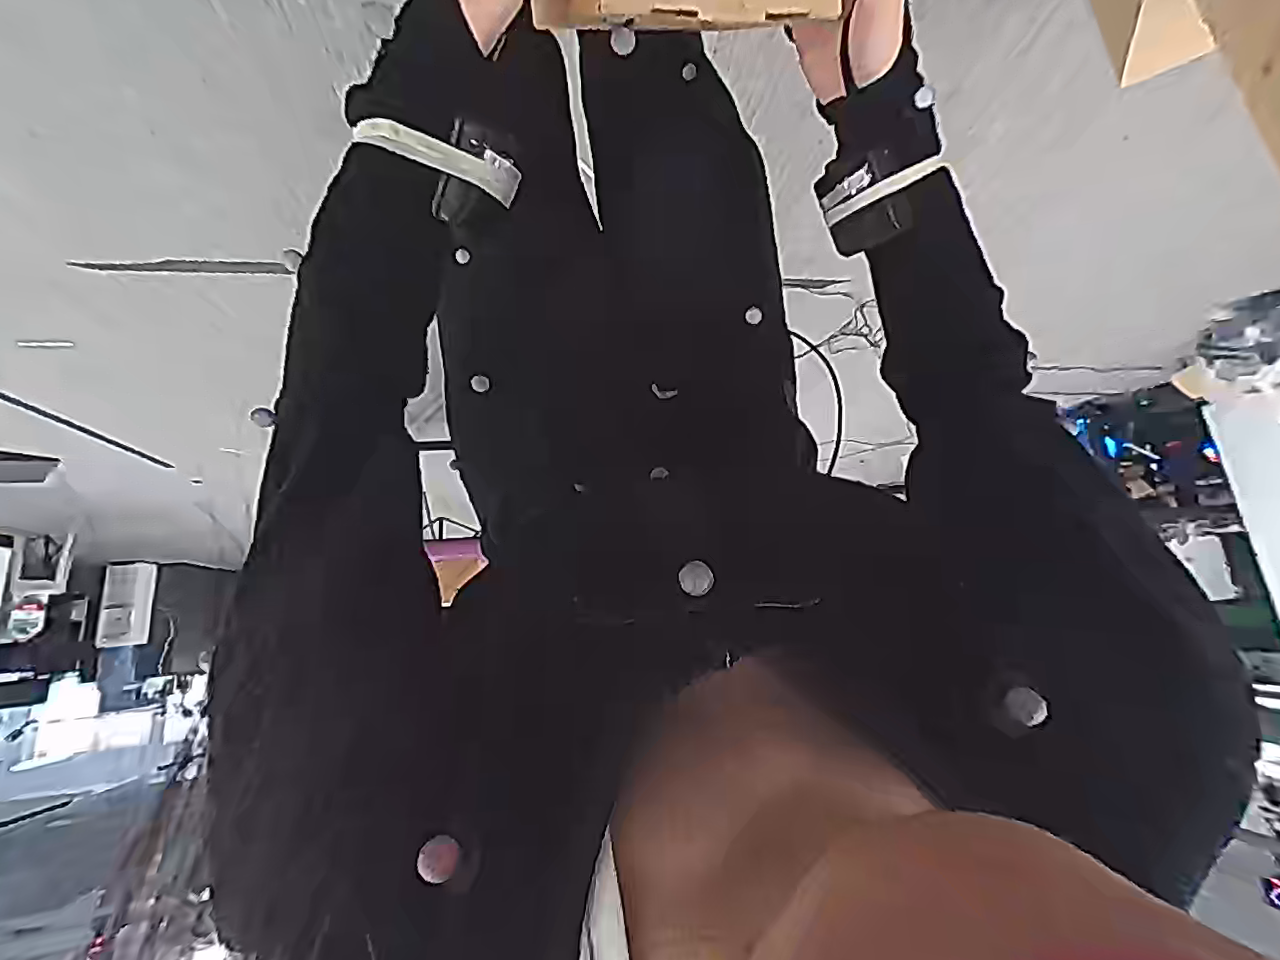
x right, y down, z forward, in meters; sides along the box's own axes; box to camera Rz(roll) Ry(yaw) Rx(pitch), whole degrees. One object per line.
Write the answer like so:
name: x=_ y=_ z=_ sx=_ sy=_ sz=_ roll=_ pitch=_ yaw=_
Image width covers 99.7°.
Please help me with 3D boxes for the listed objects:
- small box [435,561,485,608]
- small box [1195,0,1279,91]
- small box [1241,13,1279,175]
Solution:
small box: x=-0.721 y=0.419 z=2.167 sx=0.179 sy=0.176 sz=0.168 roll=-2 pitch=164 yaw=-12
small box: x=0.761 y=-0.592 z=0.583 sx=0.179 sy=0.176 sz=0.168 roll=-14 pitch=163 yaw=30
small box: x=0.779 y=-0.435 z=0.540 sx=0.179 sy=0.176 sz=0.168 roll=-15 pitch=162 yaw=29
